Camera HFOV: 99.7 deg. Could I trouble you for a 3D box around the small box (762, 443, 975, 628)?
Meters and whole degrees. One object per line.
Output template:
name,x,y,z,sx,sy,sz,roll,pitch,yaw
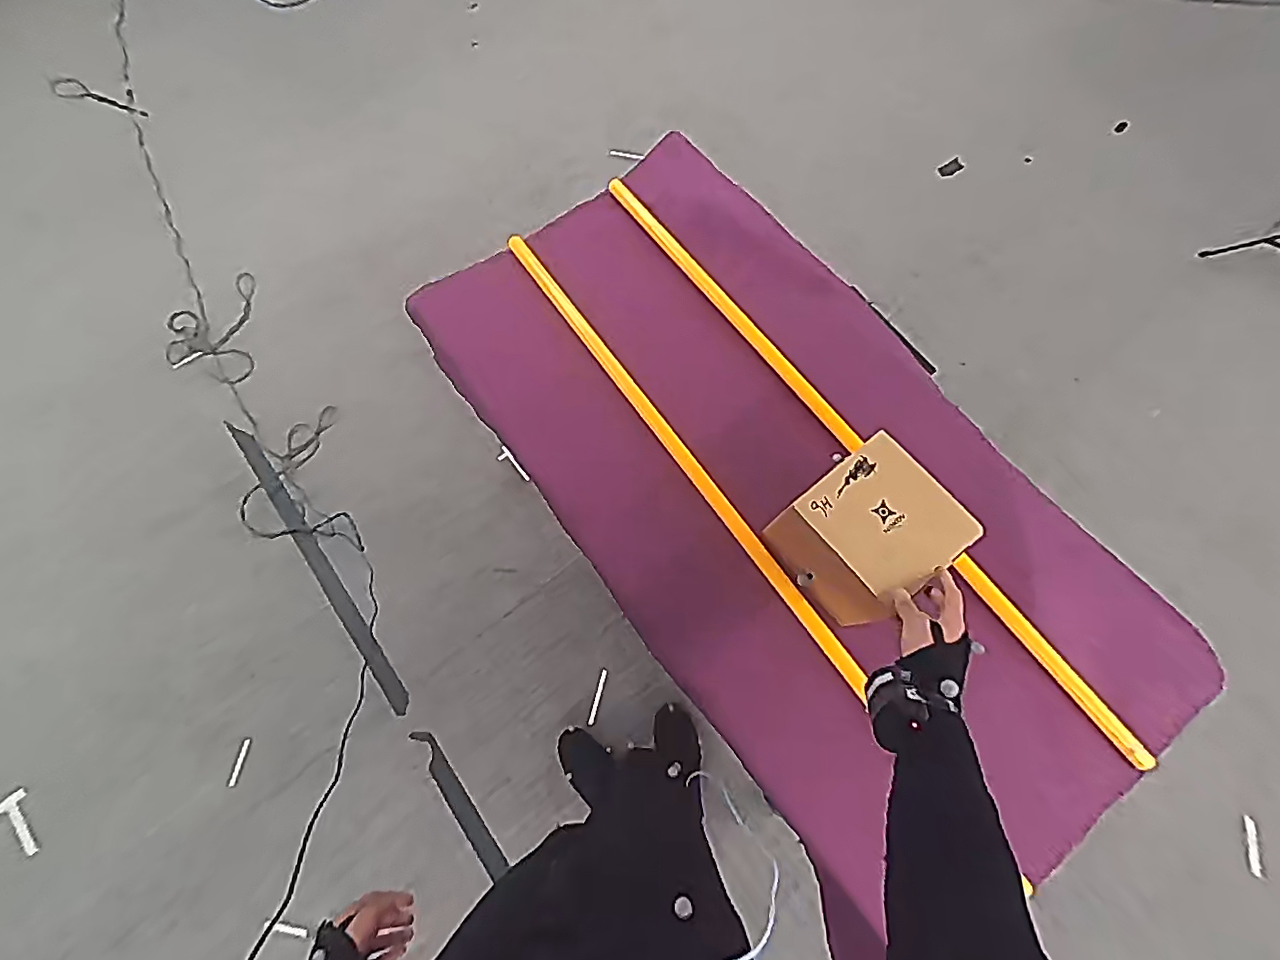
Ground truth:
small box,0.297,0.085,0.744,0.168,0.176,0.179,-36,77,-12
